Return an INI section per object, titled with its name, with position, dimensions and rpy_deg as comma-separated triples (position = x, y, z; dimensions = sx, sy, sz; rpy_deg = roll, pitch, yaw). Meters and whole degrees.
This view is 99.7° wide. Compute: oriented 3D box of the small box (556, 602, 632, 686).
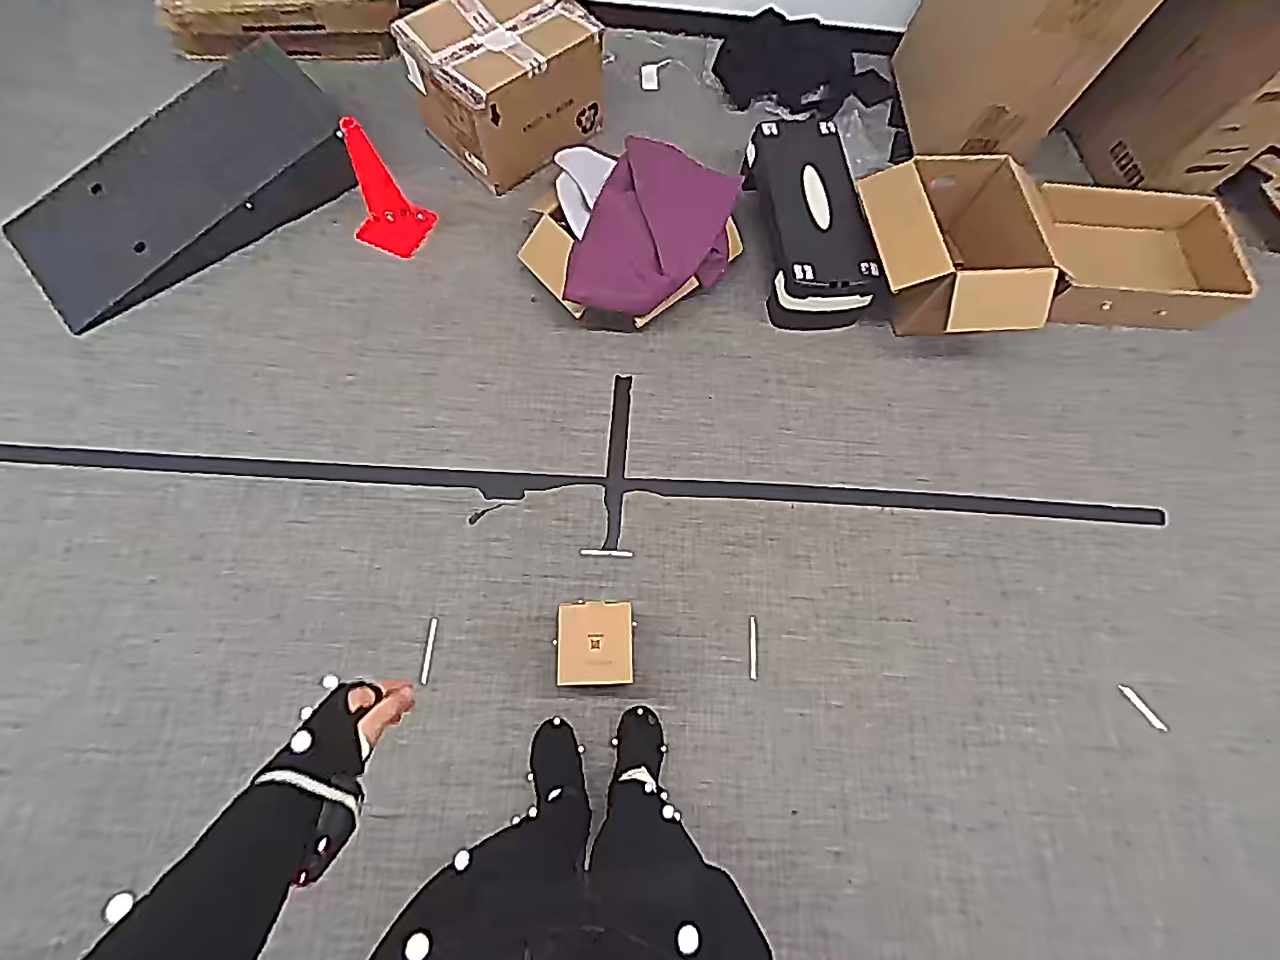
[small box]
position = -0.107, 0.385, 1.264
dimensions = 0.168, 0.176, 0.179
rpy_deg = -1, 72, -4
